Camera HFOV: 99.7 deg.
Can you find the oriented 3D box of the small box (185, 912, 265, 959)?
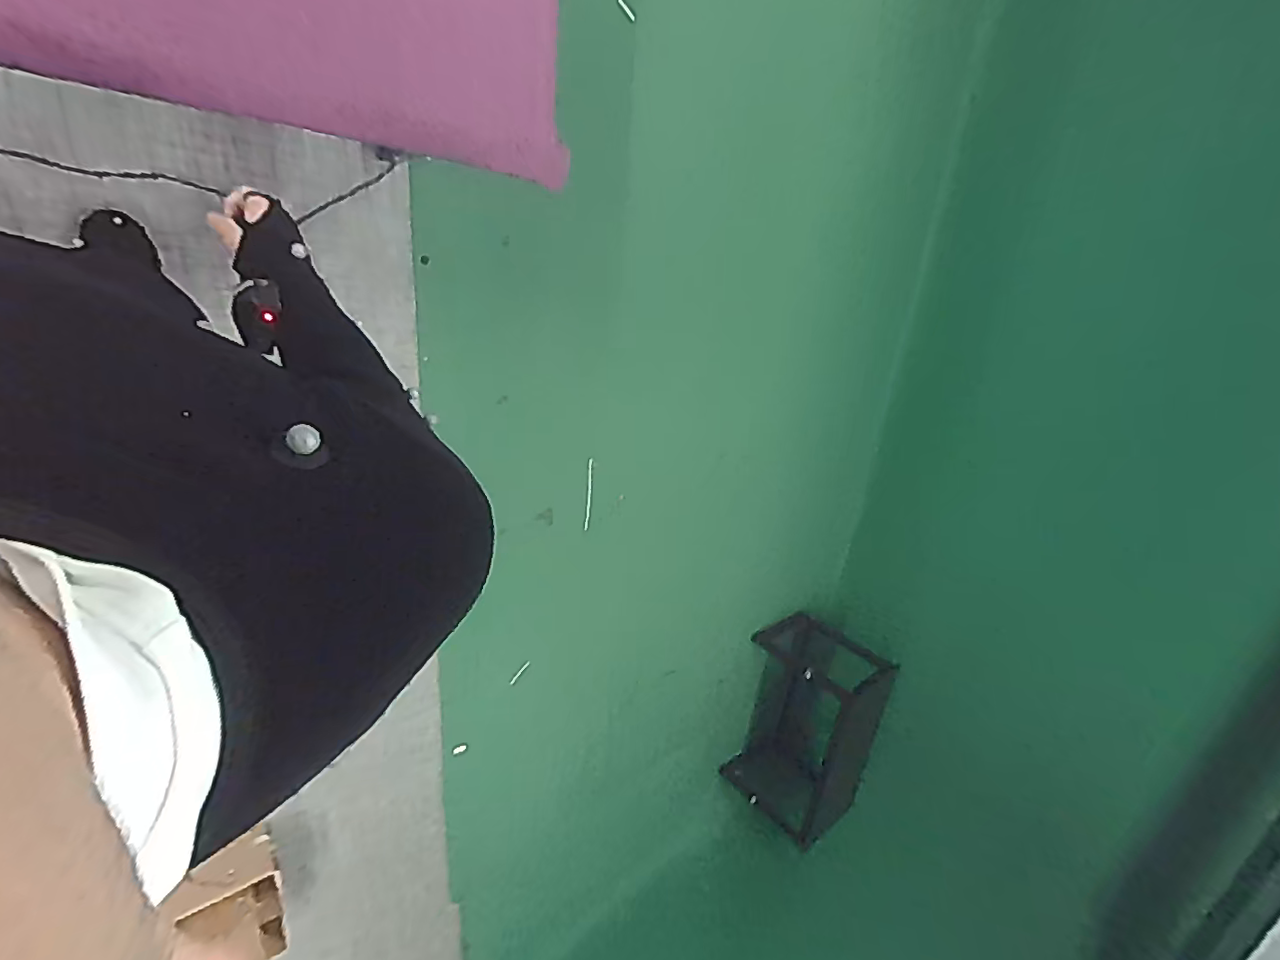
[{"bbox_3d":[-1.163,1.388,1.525,0.168,0.176,0.179,-11,117,-39],"label":"small box"}]
